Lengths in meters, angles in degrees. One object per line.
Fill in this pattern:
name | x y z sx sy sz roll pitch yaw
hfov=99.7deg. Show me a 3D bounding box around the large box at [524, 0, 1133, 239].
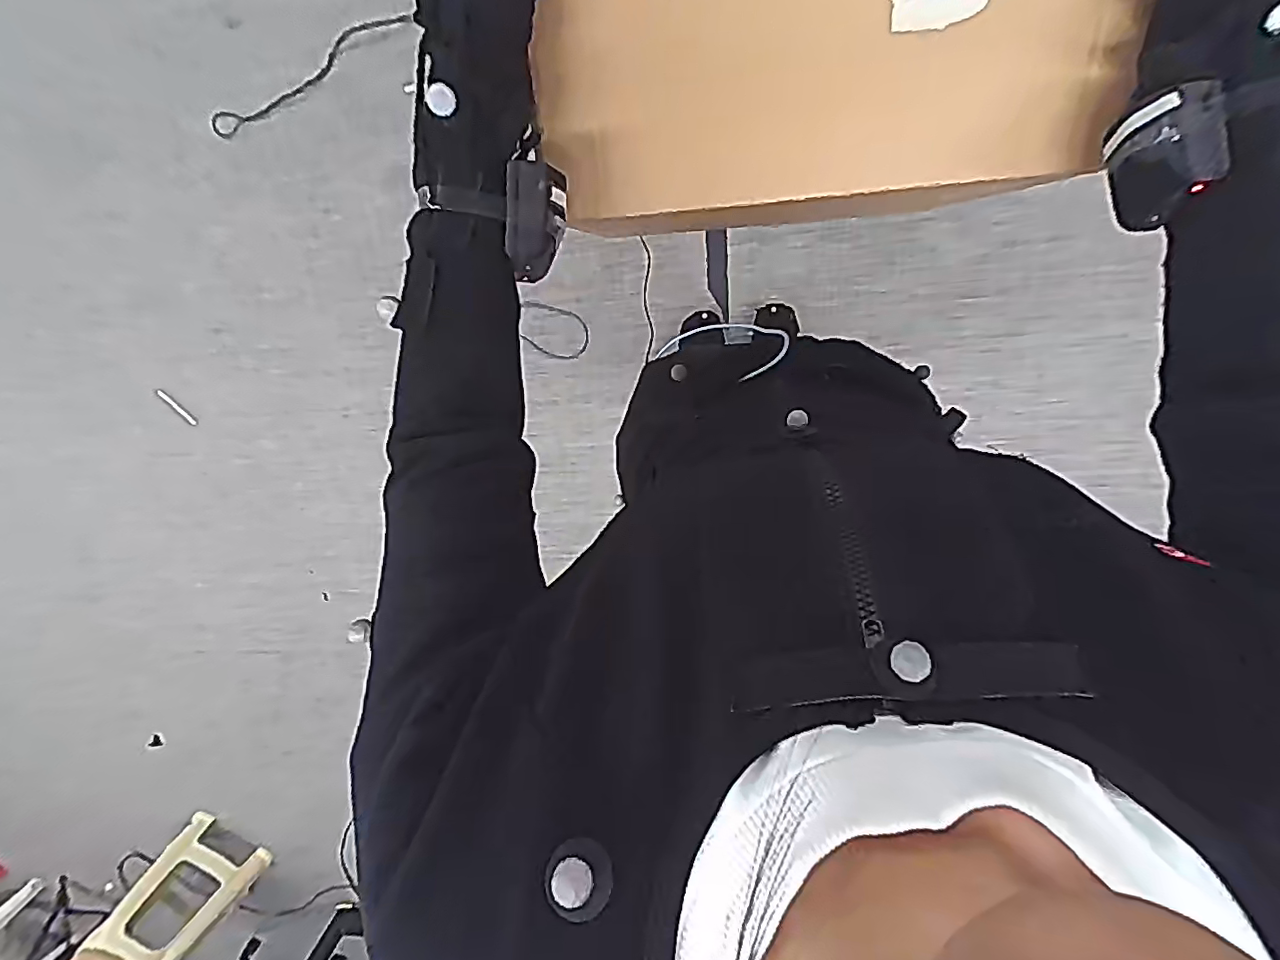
large box | 0.122 -0.411 0.482 0.408 0.320 0.320 -4 112 5
